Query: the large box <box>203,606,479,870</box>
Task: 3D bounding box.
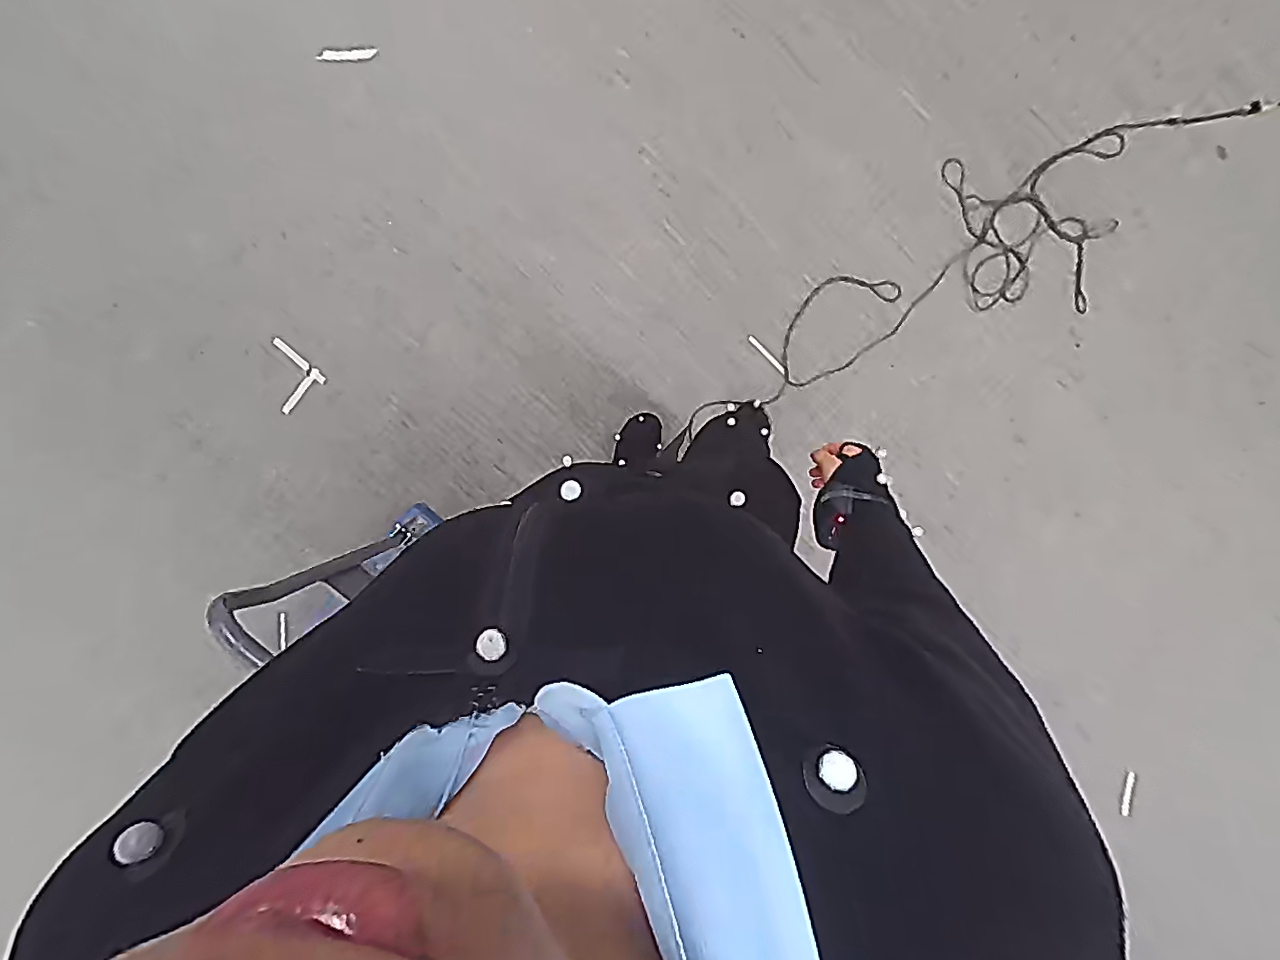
[{"bbox_3d":[-0.668,0.579,1.276,0.408,0.320,0.320,44,97,-5],"label":"large box"}]
